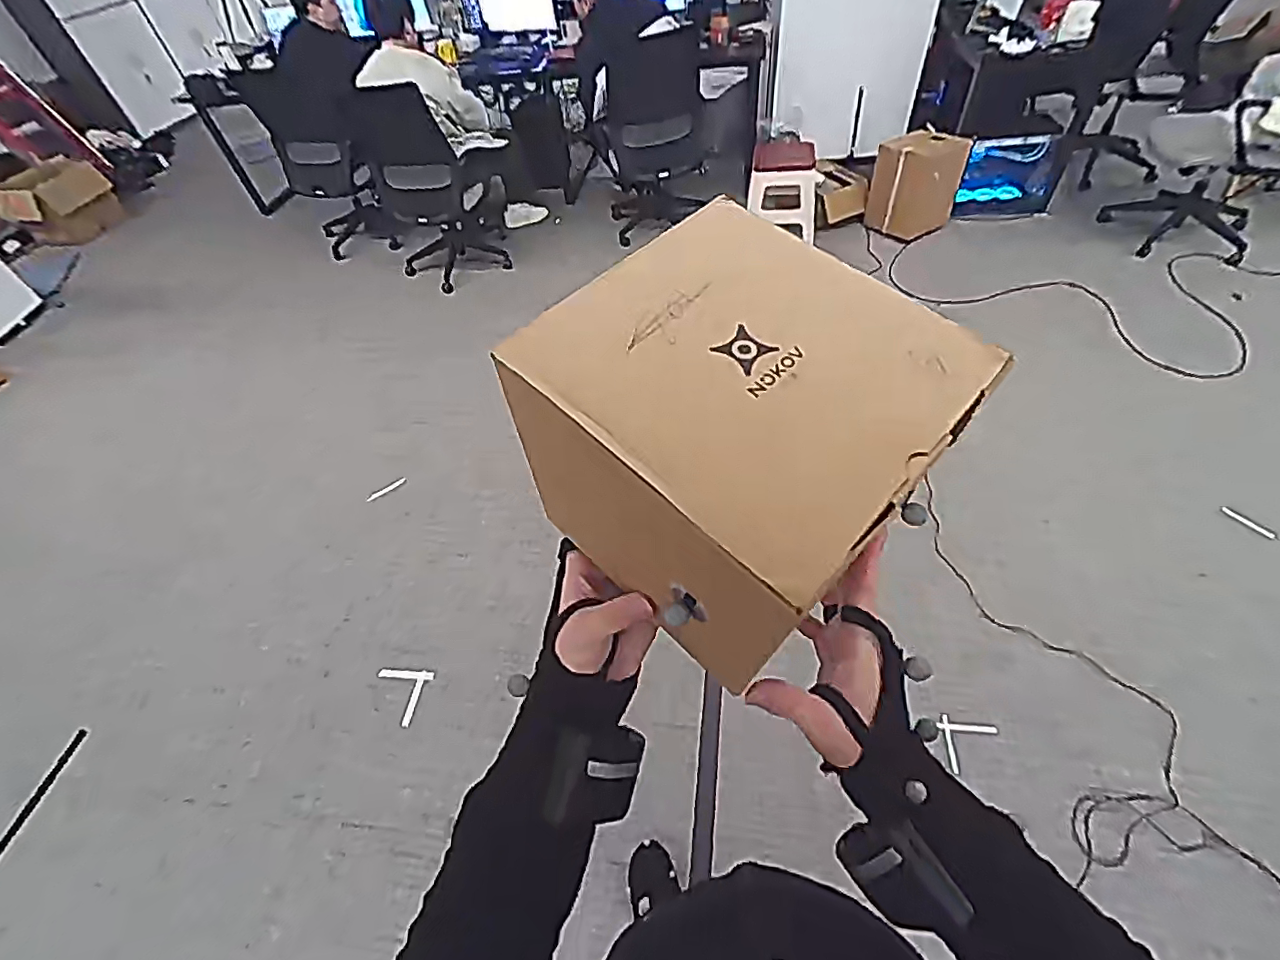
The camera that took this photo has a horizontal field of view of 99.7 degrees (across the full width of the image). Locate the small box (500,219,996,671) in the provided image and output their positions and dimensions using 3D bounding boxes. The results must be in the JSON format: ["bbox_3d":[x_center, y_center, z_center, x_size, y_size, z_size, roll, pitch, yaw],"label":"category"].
[{"bbox_3d":[0.050,-0.010,0.322,0.179,0.176,0.168,40,66,22],"label":"small box"}]
